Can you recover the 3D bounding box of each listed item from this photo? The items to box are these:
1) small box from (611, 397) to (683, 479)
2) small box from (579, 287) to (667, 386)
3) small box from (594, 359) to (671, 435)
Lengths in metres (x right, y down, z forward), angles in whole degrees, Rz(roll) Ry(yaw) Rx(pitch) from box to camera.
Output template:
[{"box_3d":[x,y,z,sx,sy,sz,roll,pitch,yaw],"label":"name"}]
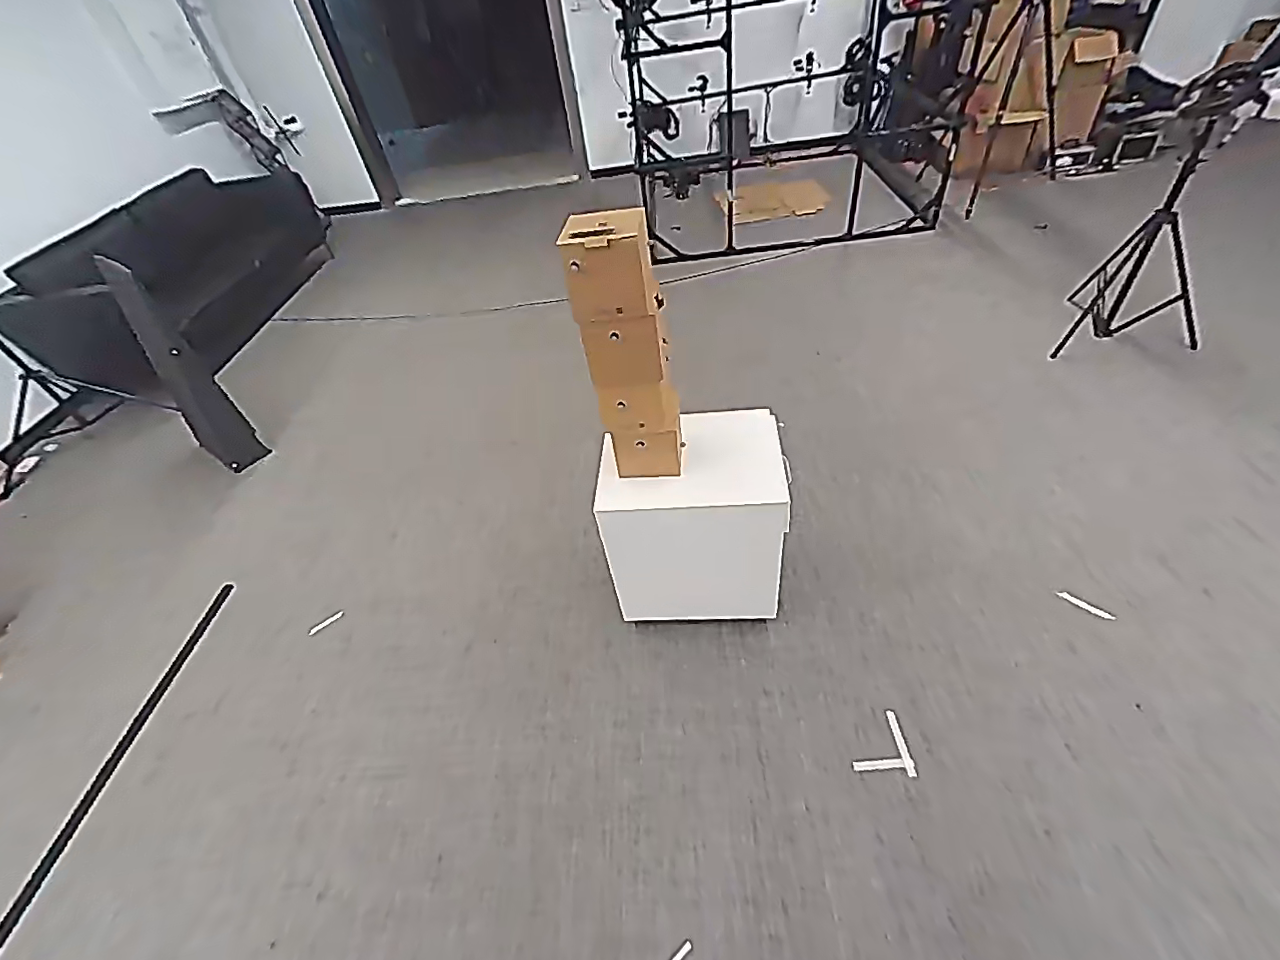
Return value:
[{"box_3d":[0.026,-0.114,1.515,0.179,0.176,0.168,-1,45,8],"label":"small box"},{"box_3d":[-0.033,-0.337,1.282,0.179,0.176,0.168,-2,44,7],"label":"small box"},{"box_3d":[-0.011,-0.229,1.406,0.168,0.176,0.179,-1,44,9],"label":"small box"}]
